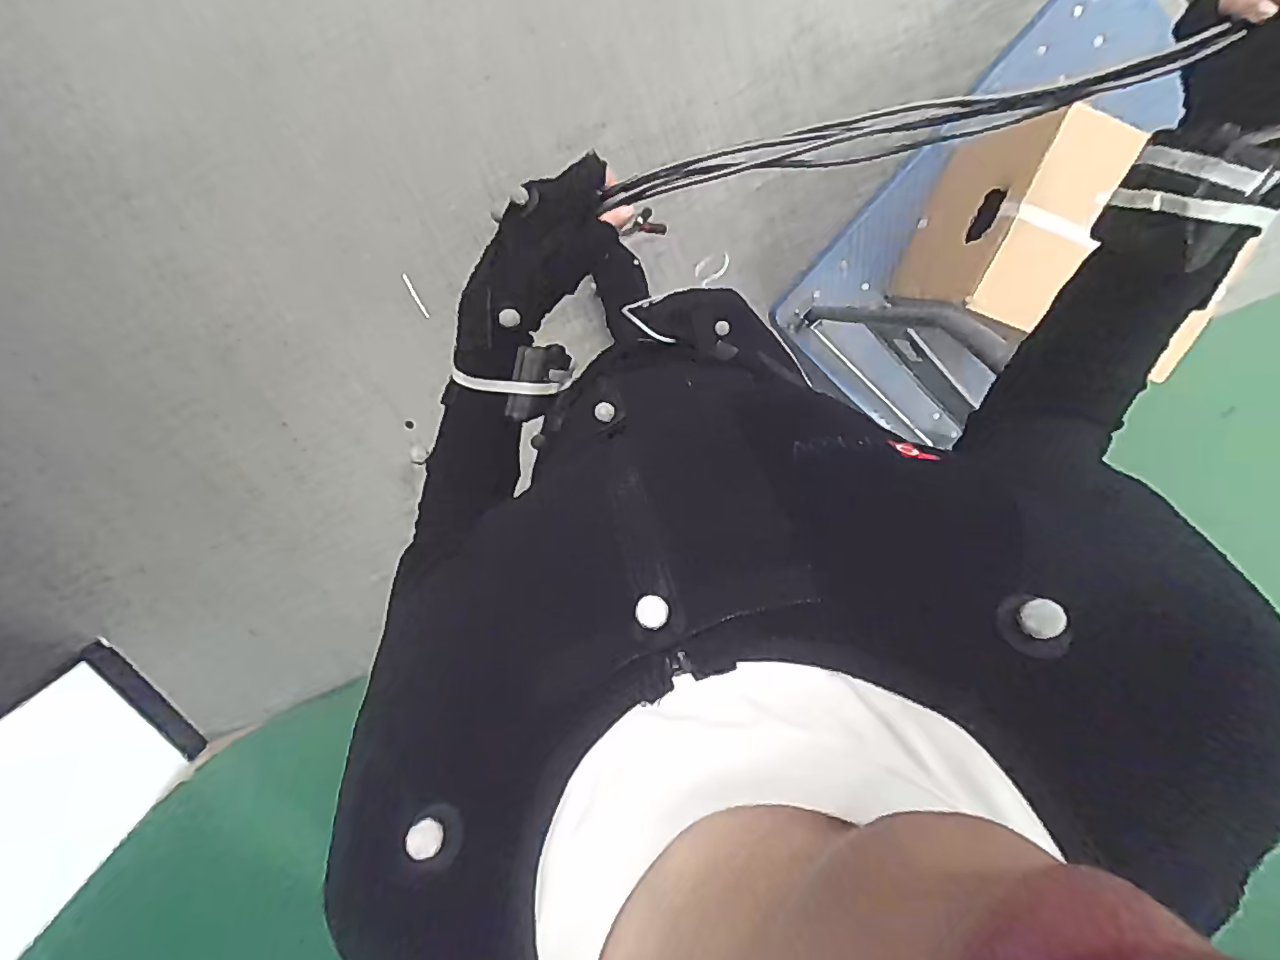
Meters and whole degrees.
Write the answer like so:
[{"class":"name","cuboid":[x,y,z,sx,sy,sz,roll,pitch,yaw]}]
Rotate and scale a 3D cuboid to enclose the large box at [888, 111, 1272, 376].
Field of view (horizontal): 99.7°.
[{"class":"large box","cuboid":[0.779,-0.425,1.030,0.408,0.320,0.320,17,108,-6]}]
